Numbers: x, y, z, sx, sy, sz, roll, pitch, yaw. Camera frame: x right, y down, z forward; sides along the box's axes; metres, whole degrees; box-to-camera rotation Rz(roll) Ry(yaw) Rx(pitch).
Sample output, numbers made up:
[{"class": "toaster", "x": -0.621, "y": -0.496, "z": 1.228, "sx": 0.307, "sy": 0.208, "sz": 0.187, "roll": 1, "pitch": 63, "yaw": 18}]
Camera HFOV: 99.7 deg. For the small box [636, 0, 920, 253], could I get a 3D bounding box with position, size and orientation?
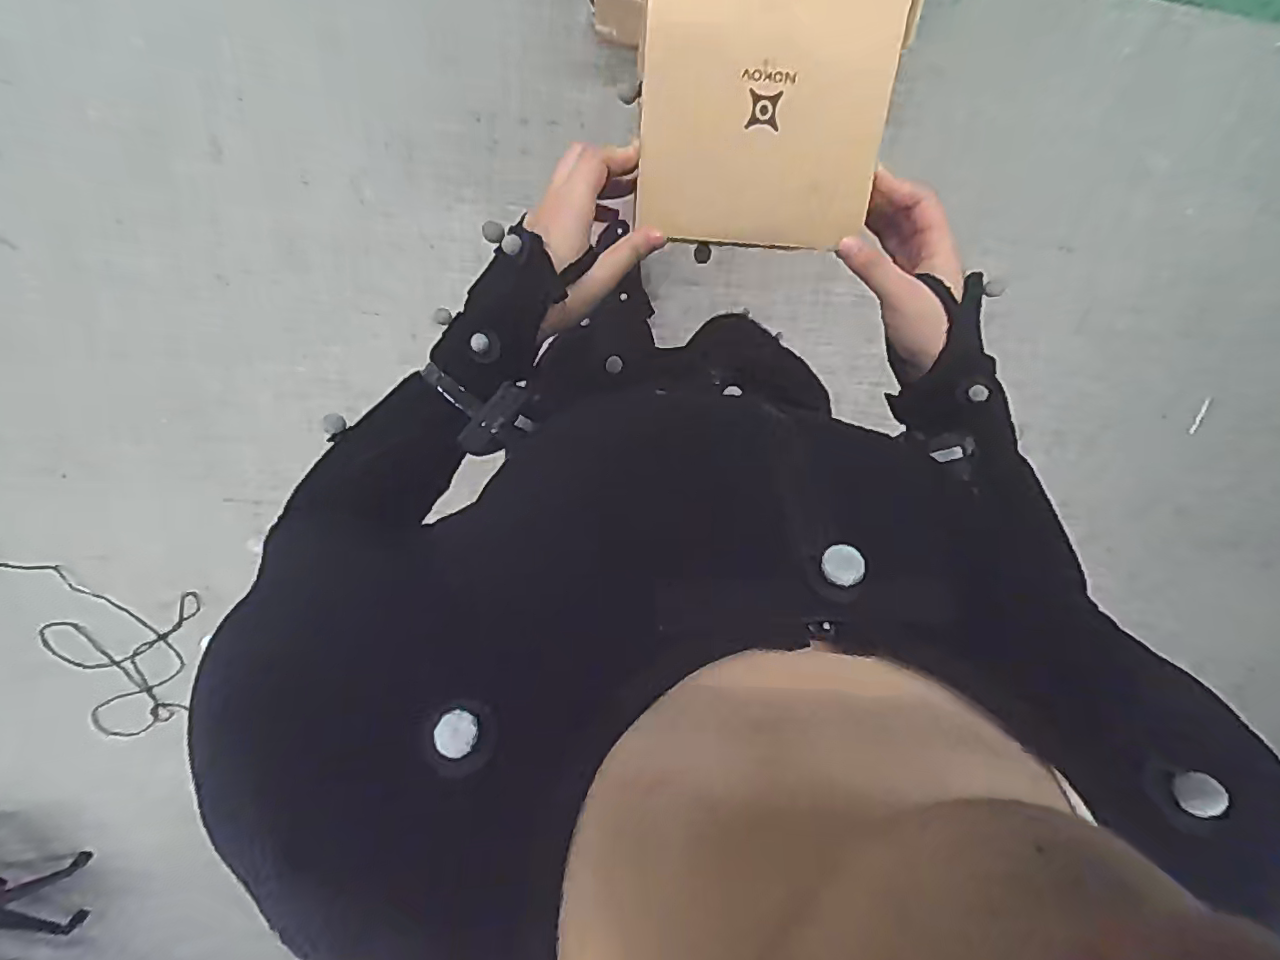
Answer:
[{"class": "small box", "x": 0.085, "y": -0.281, "z": 0.425, "sx": 0.168, "sy": 0.176, "sz": 0.179, "roll": 3, "pitch": 113, "yaw": -3}]
